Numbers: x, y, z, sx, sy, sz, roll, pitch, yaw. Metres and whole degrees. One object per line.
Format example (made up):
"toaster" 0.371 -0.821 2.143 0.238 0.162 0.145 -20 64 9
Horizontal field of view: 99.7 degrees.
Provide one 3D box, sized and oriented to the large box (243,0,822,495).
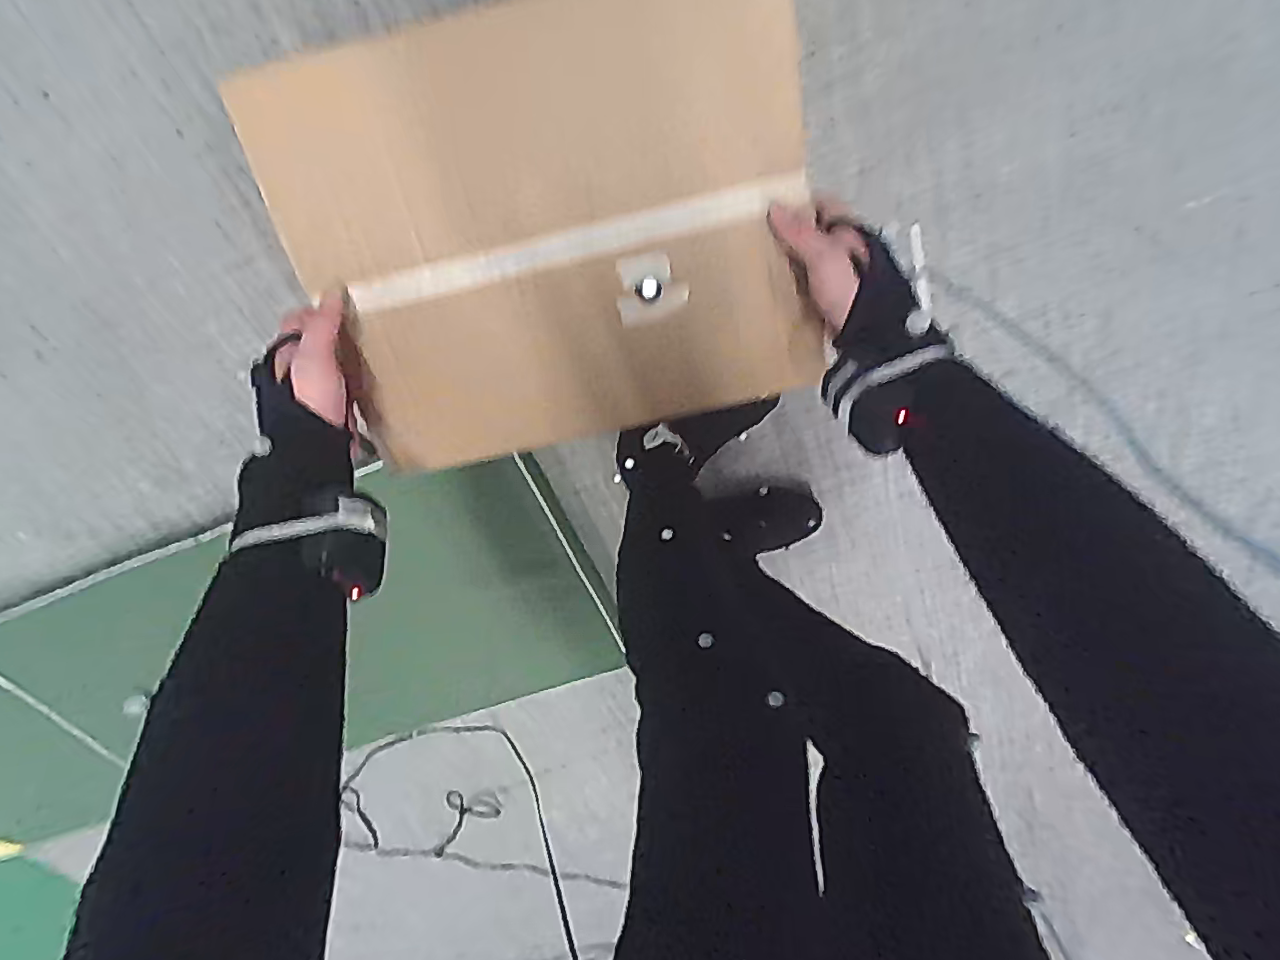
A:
"large box" -0.071 -0.219 0.572 0.408 0.320 0.320 -12 112 2
